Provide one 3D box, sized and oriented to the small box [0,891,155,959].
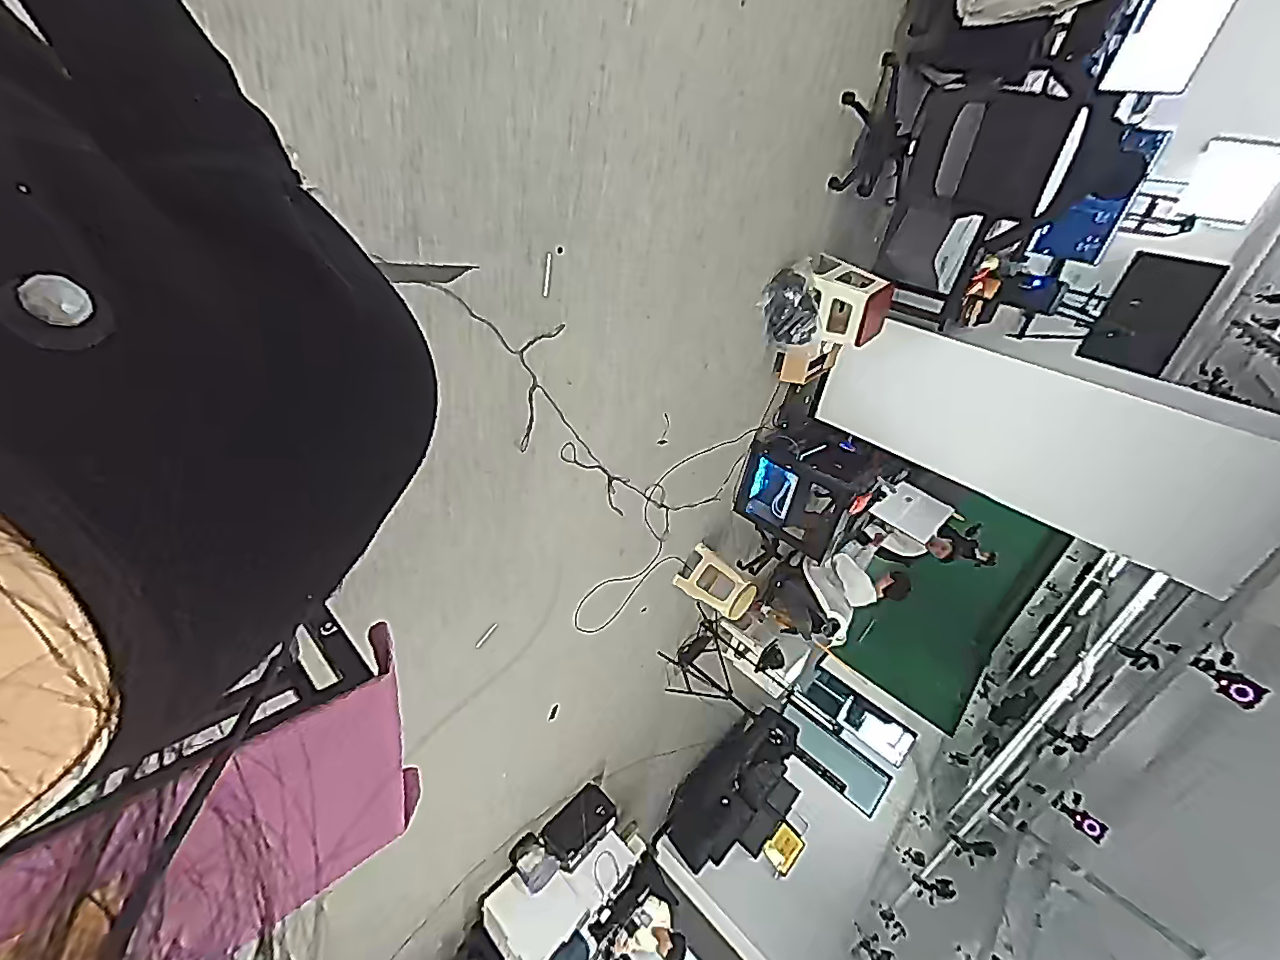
[{"bbox_3d":[-0.845,0.769,0.806,0.168,0.176,0.179,-19,134,-44],"label":"small box"}]
